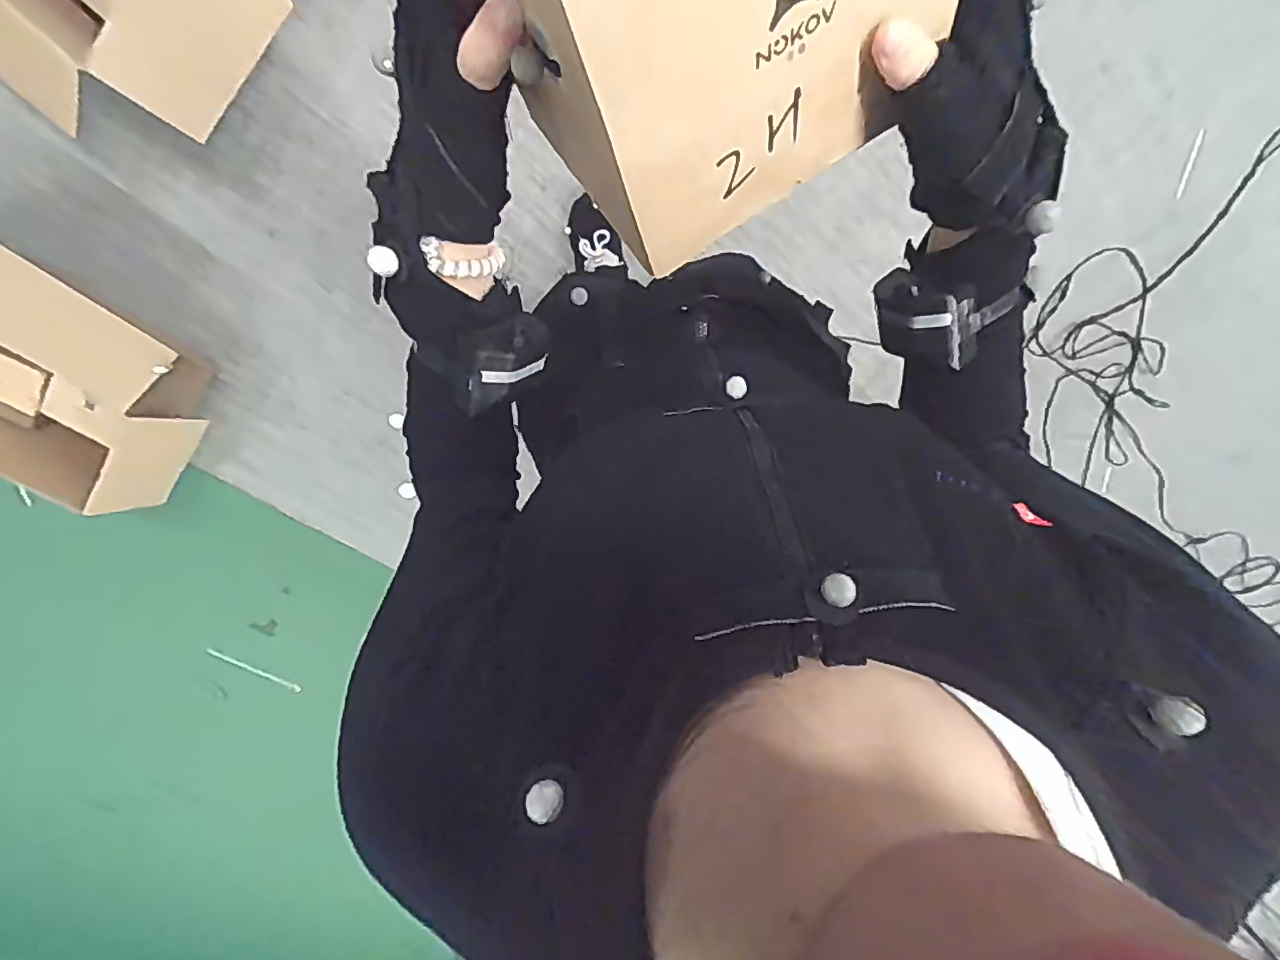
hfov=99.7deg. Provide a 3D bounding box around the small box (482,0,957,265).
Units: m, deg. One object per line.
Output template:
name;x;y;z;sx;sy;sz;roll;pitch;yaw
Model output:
small box;0.016;-0.241;0.227;0.168;0.176;0.179;-32;156;2
